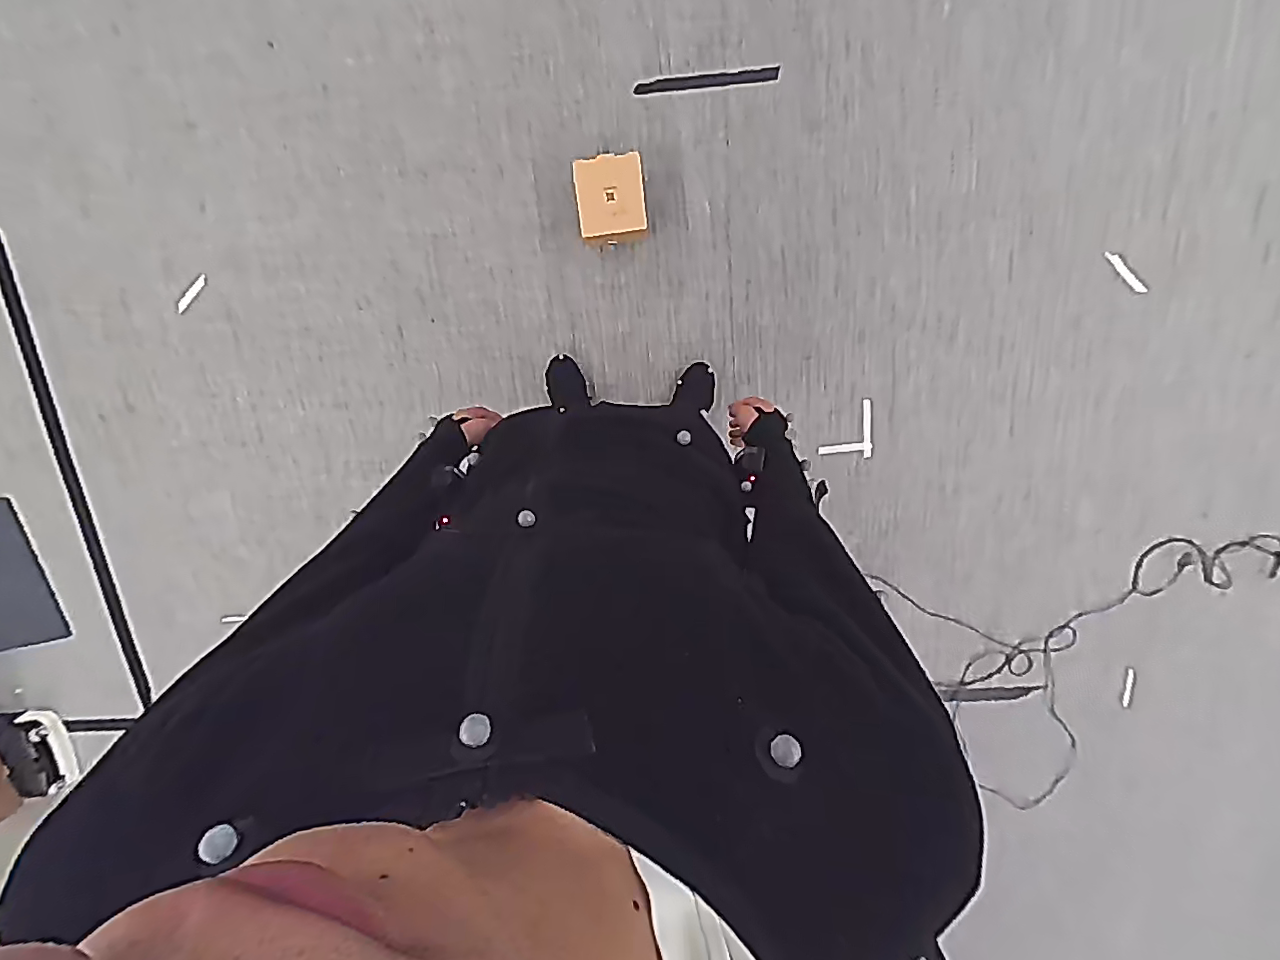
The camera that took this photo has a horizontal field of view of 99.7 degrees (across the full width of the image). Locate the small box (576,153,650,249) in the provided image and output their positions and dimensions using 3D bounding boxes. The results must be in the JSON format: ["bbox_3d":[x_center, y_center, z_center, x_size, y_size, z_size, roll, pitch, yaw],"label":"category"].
[{"bbox_3d":[-0.065,-0.706,1.384,0.168,0.176,0.179,-6,104,3],"label":"small box"}]
